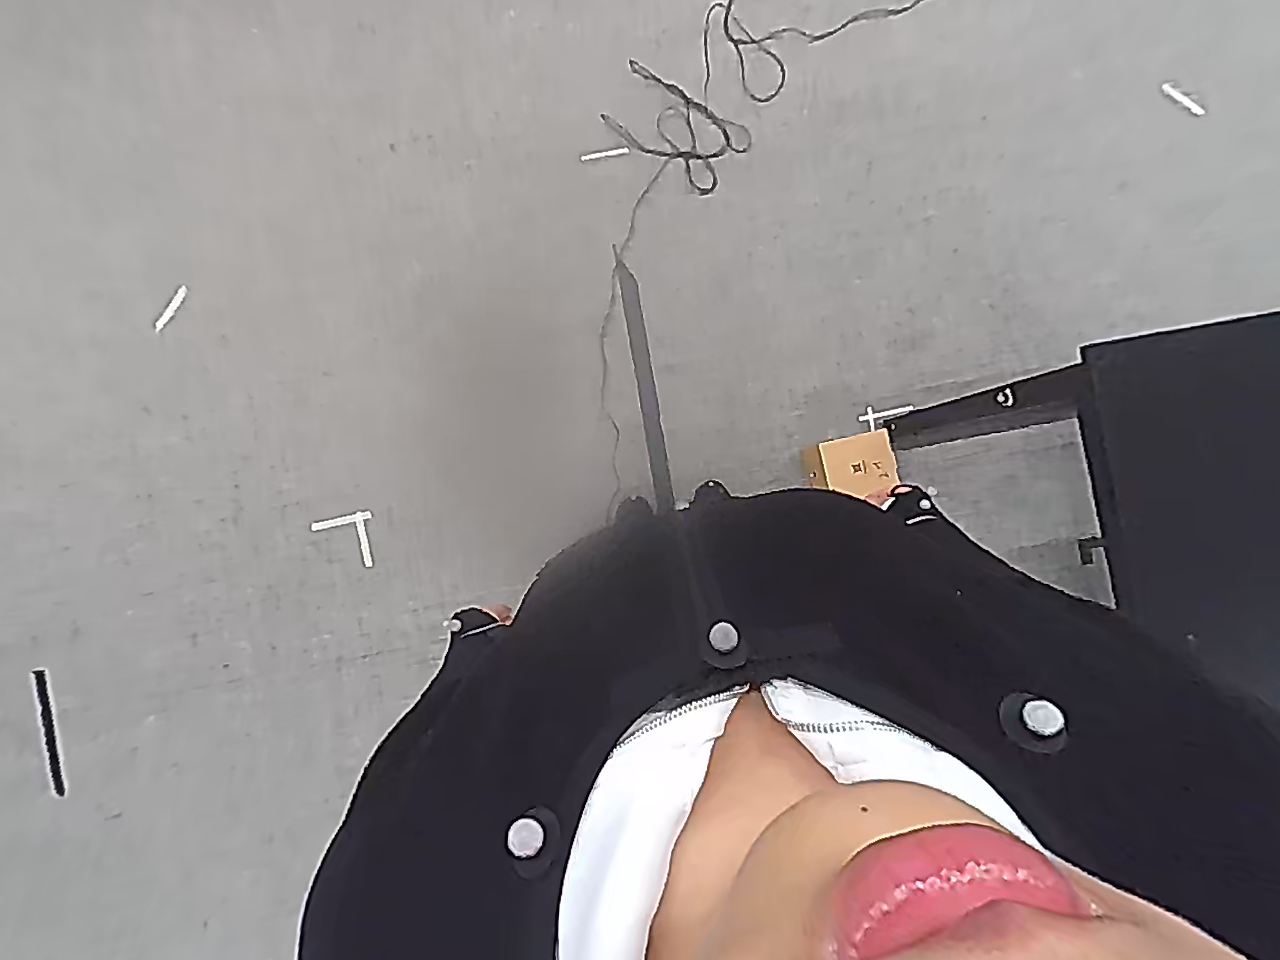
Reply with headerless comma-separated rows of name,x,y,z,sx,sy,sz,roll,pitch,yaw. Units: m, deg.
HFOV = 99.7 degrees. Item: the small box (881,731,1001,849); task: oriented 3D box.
small box,0.768,0.789,1.398,0.179,0.176,0.168,33,90,2
